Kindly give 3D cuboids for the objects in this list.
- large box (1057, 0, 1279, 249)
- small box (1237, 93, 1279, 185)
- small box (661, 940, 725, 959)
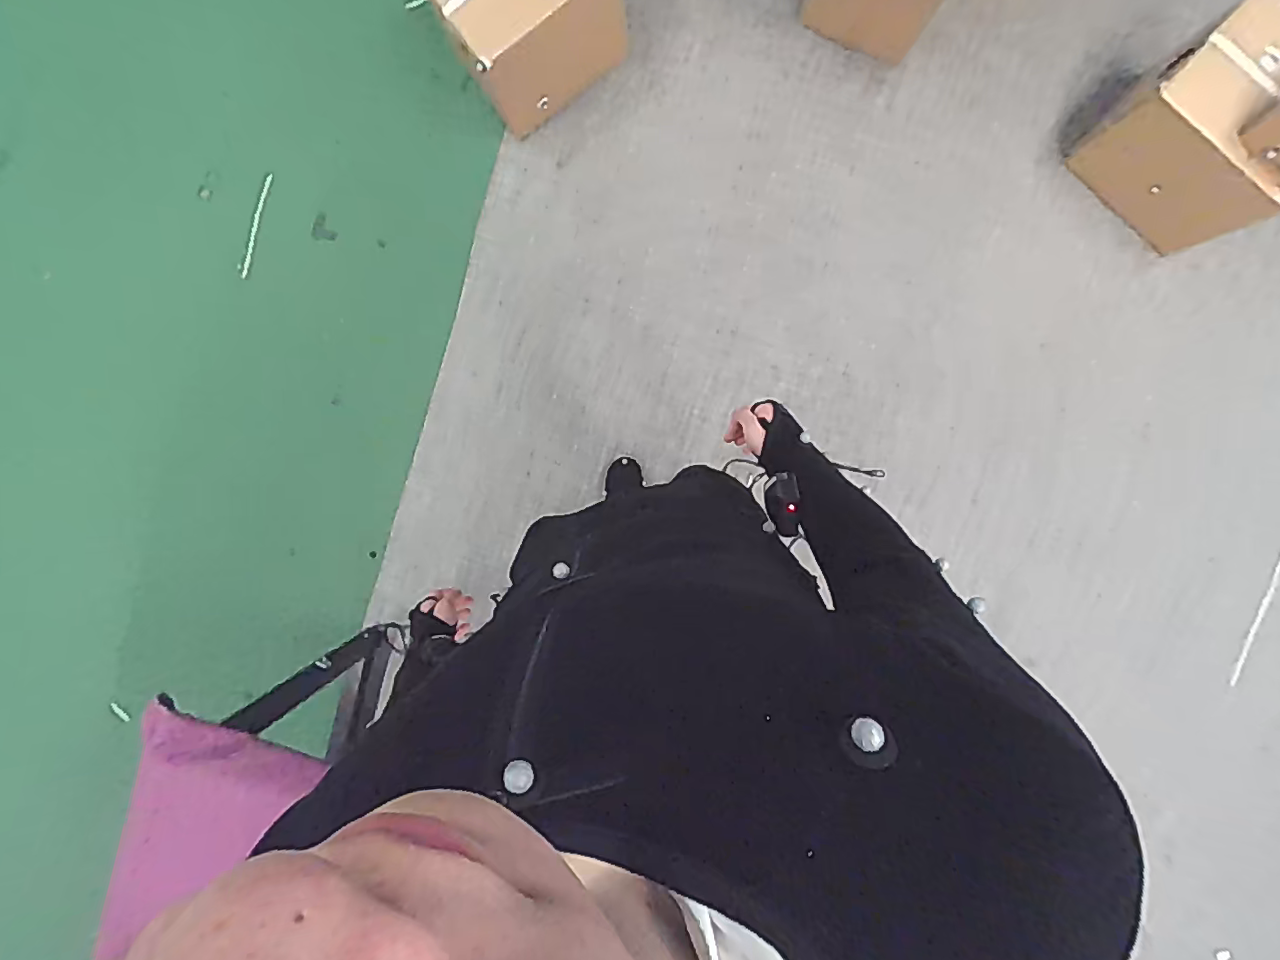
[{"bbox_3d":[1.406,-0.872,1.361,0.408,0.320,0.320,41,94,0],"label":"large box"},{"bbox_3d":[1.435,-0.764,1.121,0.179,0.176,0.168,-42,91,7],"label":"small box"},{"bbox_3d":[0.097,0.913,0.878,0.168,0.176,0.179,20,97,1],"label":"small box"}]
